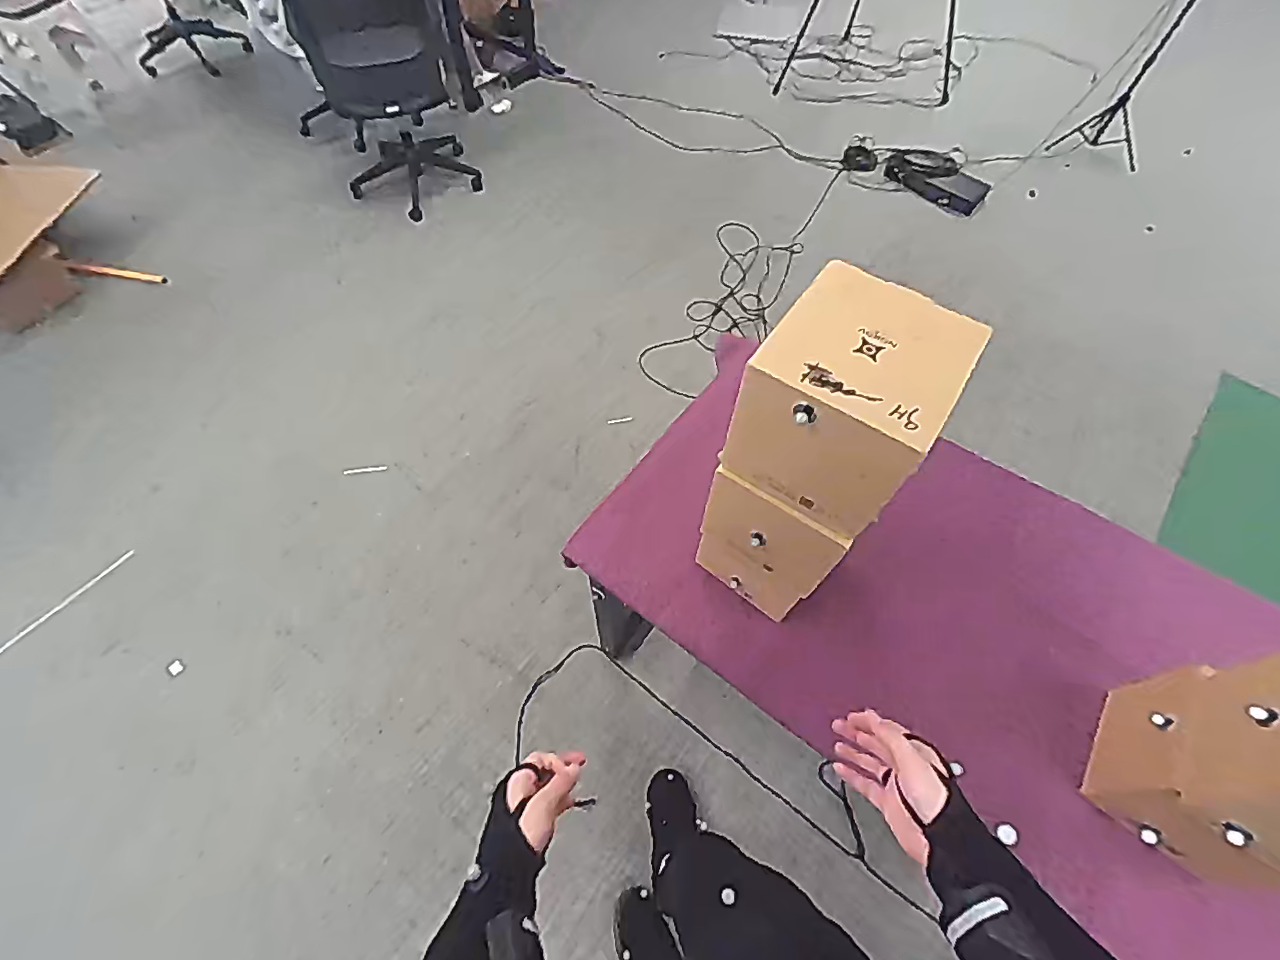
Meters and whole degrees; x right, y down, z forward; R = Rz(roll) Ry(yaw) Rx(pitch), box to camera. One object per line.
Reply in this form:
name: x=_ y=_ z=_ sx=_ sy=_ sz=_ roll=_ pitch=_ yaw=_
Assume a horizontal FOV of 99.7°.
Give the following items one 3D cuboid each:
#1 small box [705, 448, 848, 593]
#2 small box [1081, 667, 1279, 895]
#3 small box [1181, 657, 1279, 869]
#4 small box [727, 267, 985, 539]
small box: x=0.196 y=0.016 z=0.690 sx=0.168 sy=0.176 sz=0.179 roll=33 pitch=64 yaw=17
small box: x=0.706 y=0.372 z=0.675 sx=0.168 sy=0.176 sz=0.179 roll=34 pitch=64 yaw=20
small box: x=0.694 y=0.297 z=0.529 sx=0.168 sy=0.176 sz=0.179 roll=32 pitch=62 yaw=19
small box: x=0.203 y=-0.074 z=0.552 sx=0.168 sy=0.176 sz=0.179 roll=31 pitch=63 yaw=18
